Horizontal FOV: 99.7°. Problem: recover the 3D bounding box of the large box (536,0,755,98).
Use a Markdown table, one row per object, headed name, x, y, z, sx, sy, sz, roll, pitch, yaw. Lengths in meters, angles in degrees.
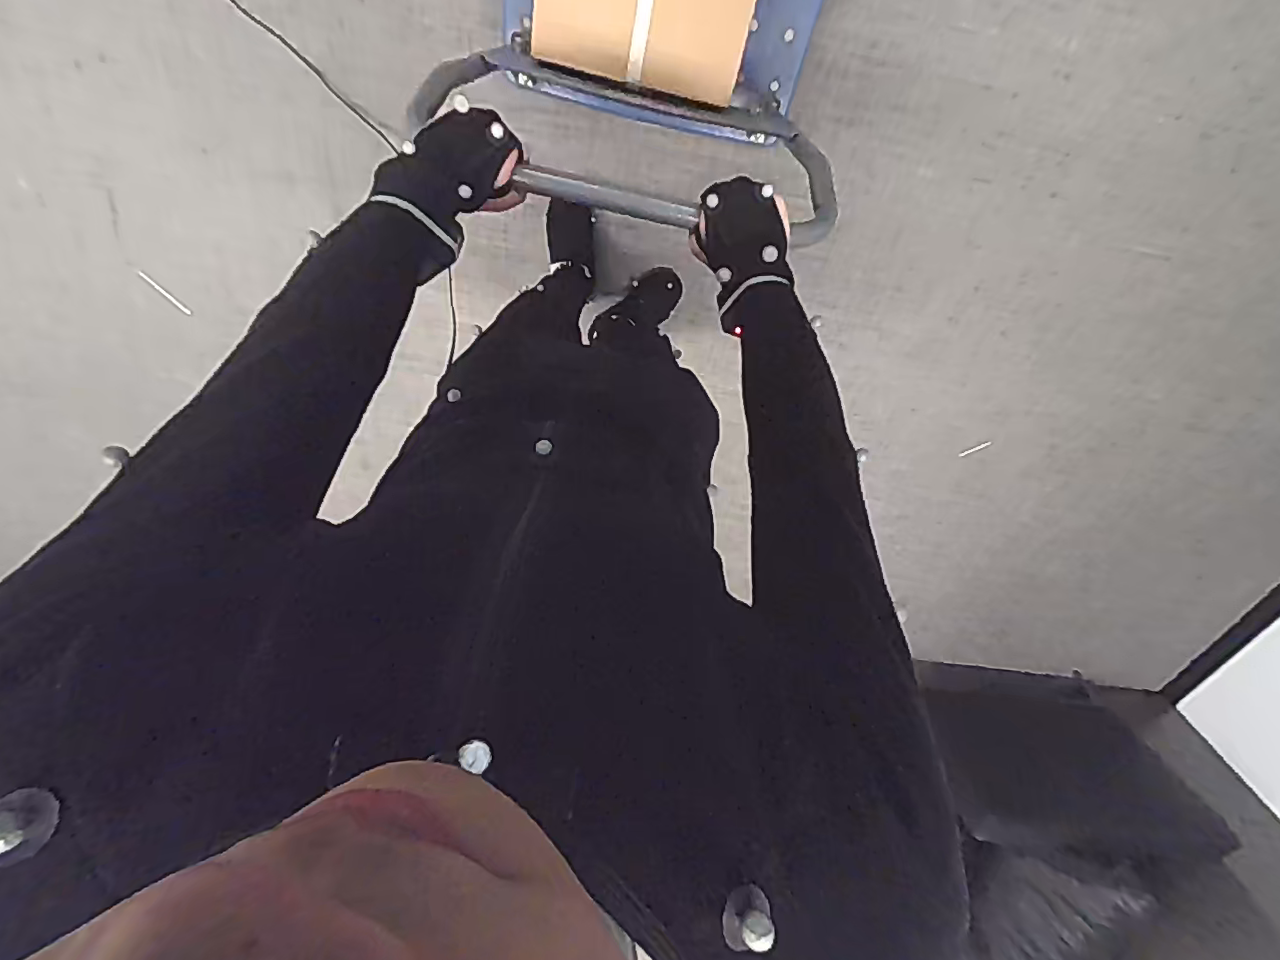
| name | x | y | z | sx | sy | sz | roll | pitch | yaw |
| --- | --- | --- | --- | --- | --- | --- | --- | --- | --- |
| large box | 0.036 | -0.868 | 0.841 | 0.320 | 0.320 | 0.408 | 11 | 126 | -6 |
